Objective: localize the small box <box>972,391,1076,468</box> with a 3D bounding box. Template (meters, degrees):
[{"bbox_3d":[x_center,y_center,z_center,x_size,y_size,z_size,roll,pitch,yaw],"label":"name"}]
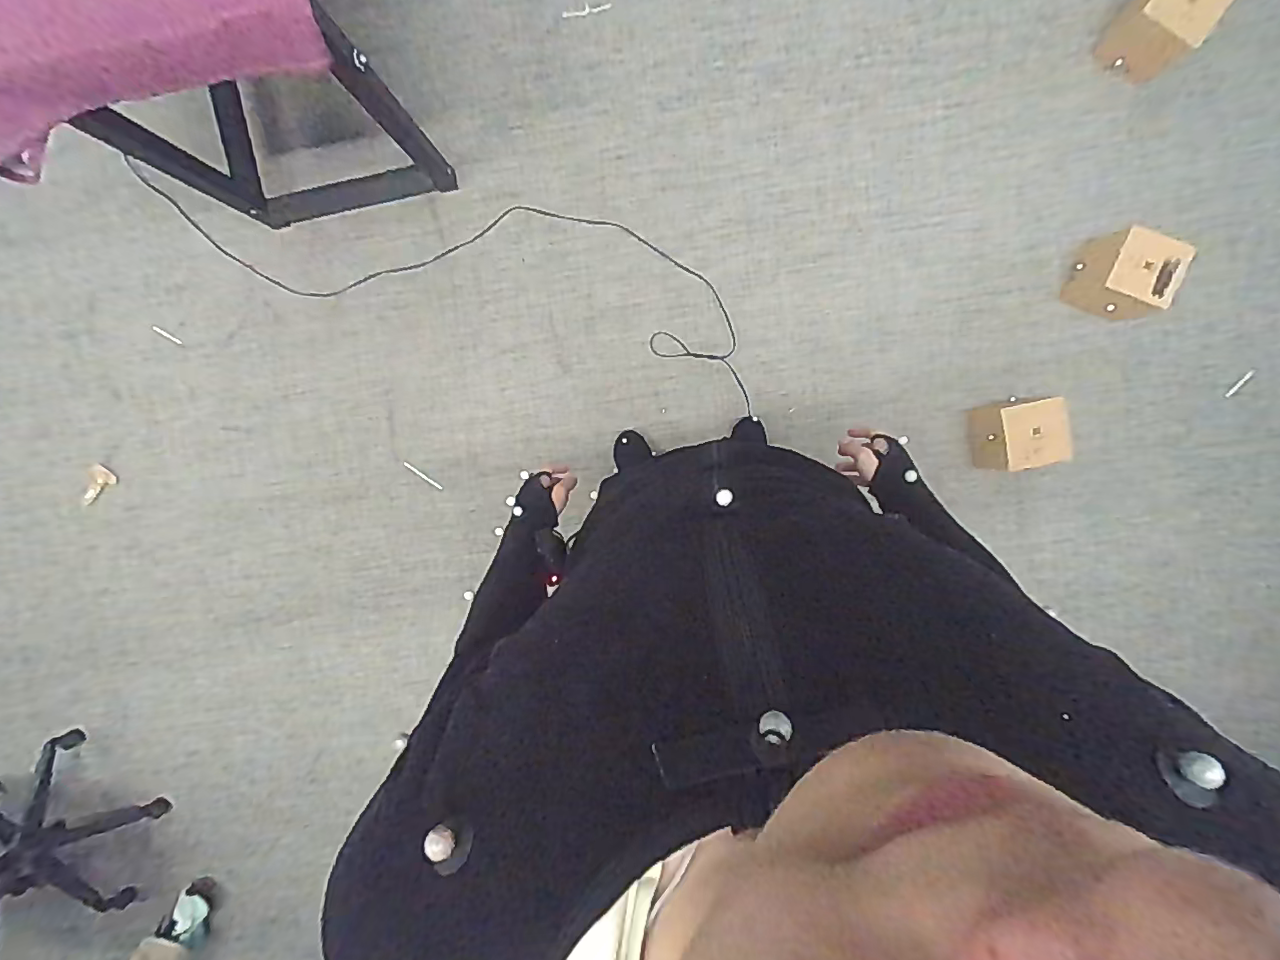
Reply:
[{"bbox_3d":[1.051,-0.139,1.495,0.168,0.176,0.179,-12,96,4],"label":"small box"}]
